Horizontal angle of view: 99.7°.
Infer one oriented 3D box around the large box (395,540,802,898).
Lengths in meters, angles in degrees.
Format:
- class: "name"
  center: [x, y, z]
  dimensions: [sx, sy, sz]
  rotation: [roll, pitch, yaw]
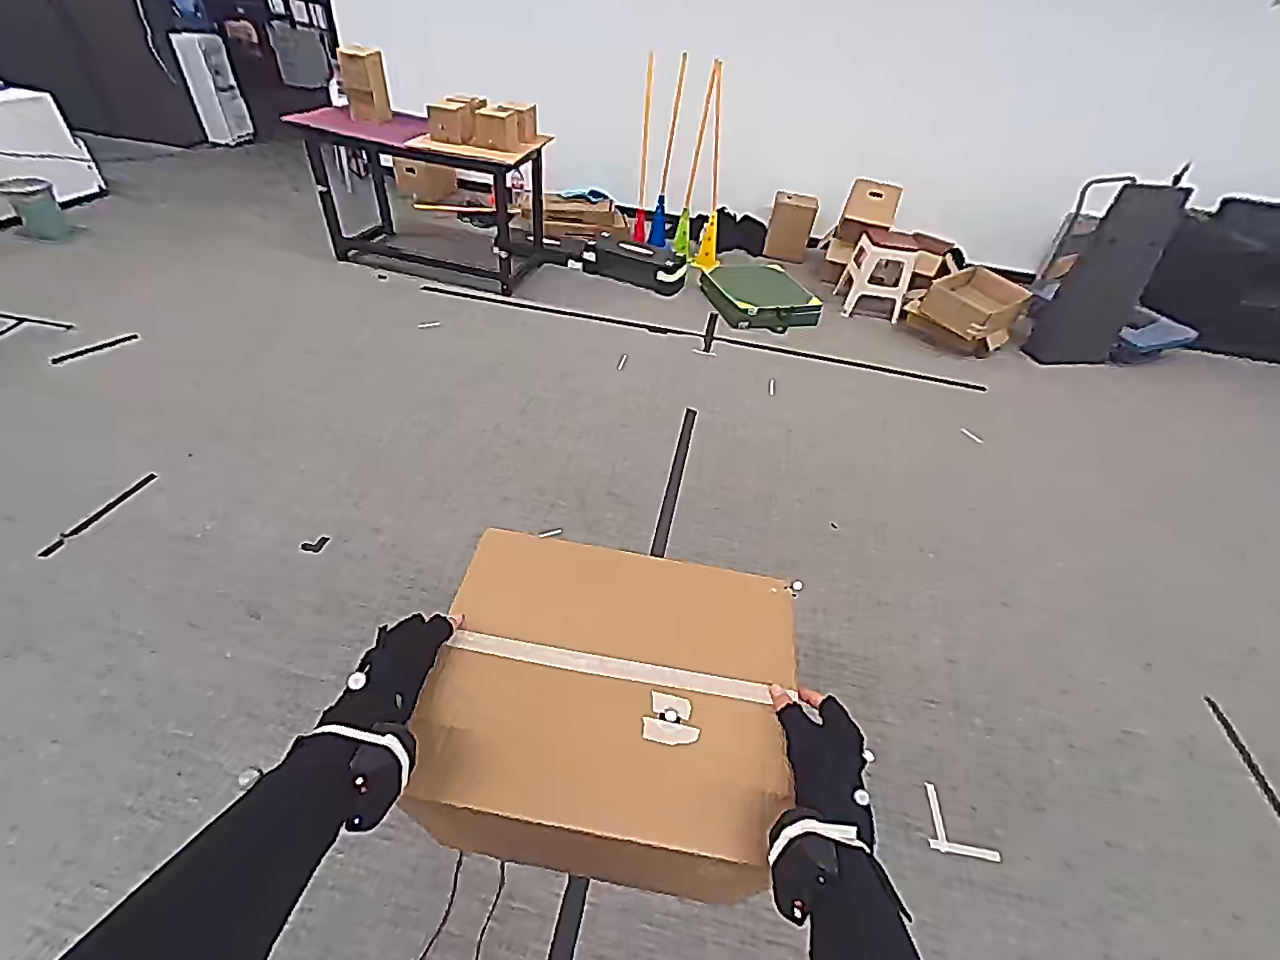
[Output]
- class: "large box"
  center: [-0.038, 0.319, 0.722]
  dimensions: [0.408, 0.320, 0.320]
  rotation: [10, 48, 2]
